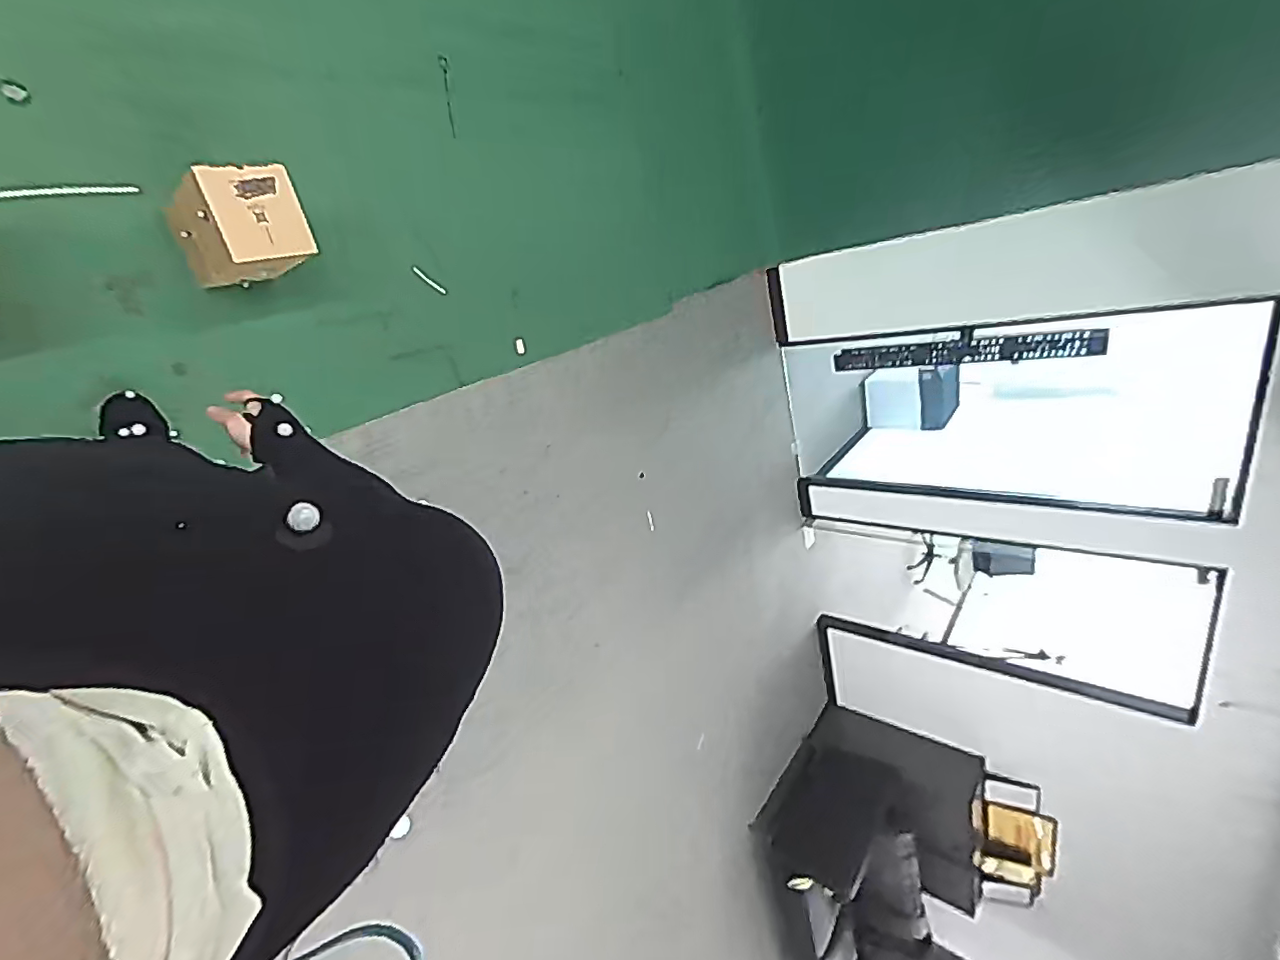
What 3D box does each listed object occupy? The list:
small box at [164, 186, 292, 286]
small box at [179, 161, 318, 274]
[{"bbox_3d":[-0.953,-0.564,1.249,0.168,0.176,0.179,-33,118,-41],"label":"small box"},{"bbox_3d":[-0.829,-0.551,1.142,0.168,0.176,0.179,-34,119,-41],"label":"small box"}]
